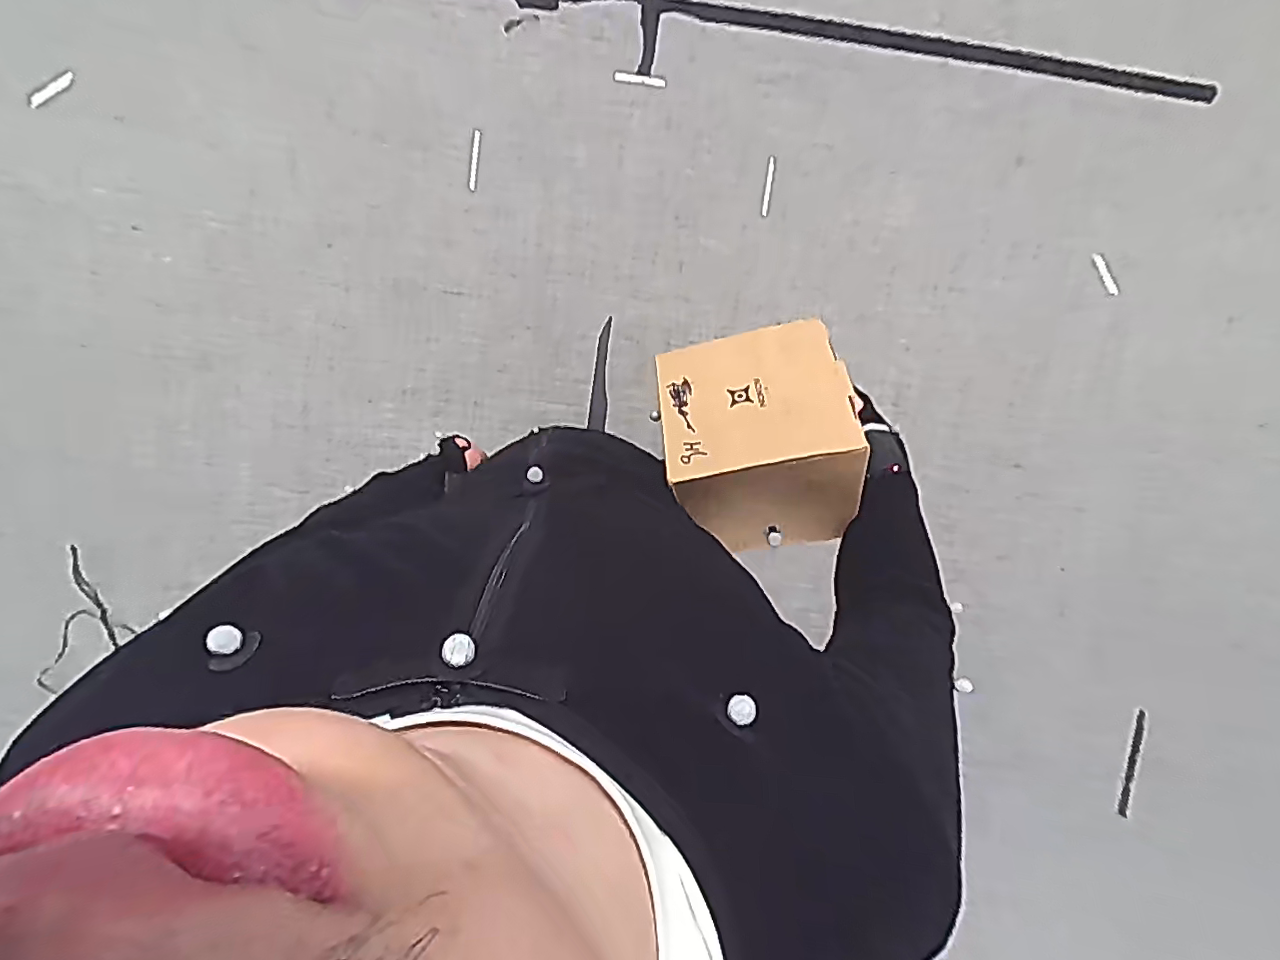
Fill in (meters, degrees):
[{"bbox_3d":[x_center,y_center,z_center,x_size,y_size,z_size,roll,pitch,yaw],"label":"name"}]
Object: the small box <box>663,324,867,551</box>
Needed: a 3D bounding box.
[{"bbox_3d":[0.129,-0.038,0.593,0.179,0.176,0.168,-10,55,10],"label":"small box"}]
